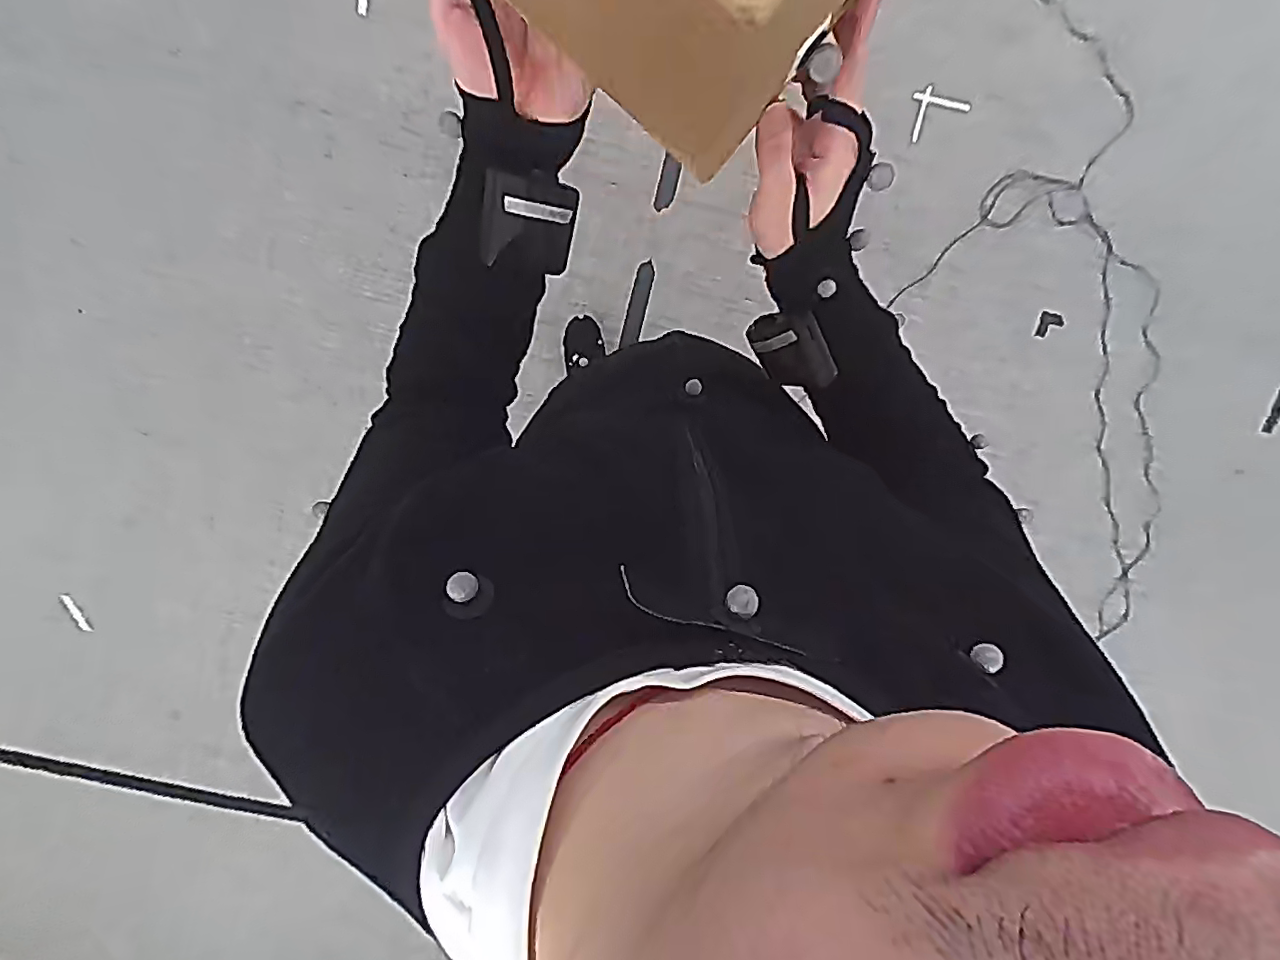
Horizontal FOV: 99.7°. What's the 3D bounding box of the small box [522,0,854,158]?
[{"bbox_3d":[0.025,-0.272,0.215,0.179,0.176,0.168,39,102,-8],"label":"small box"}]
